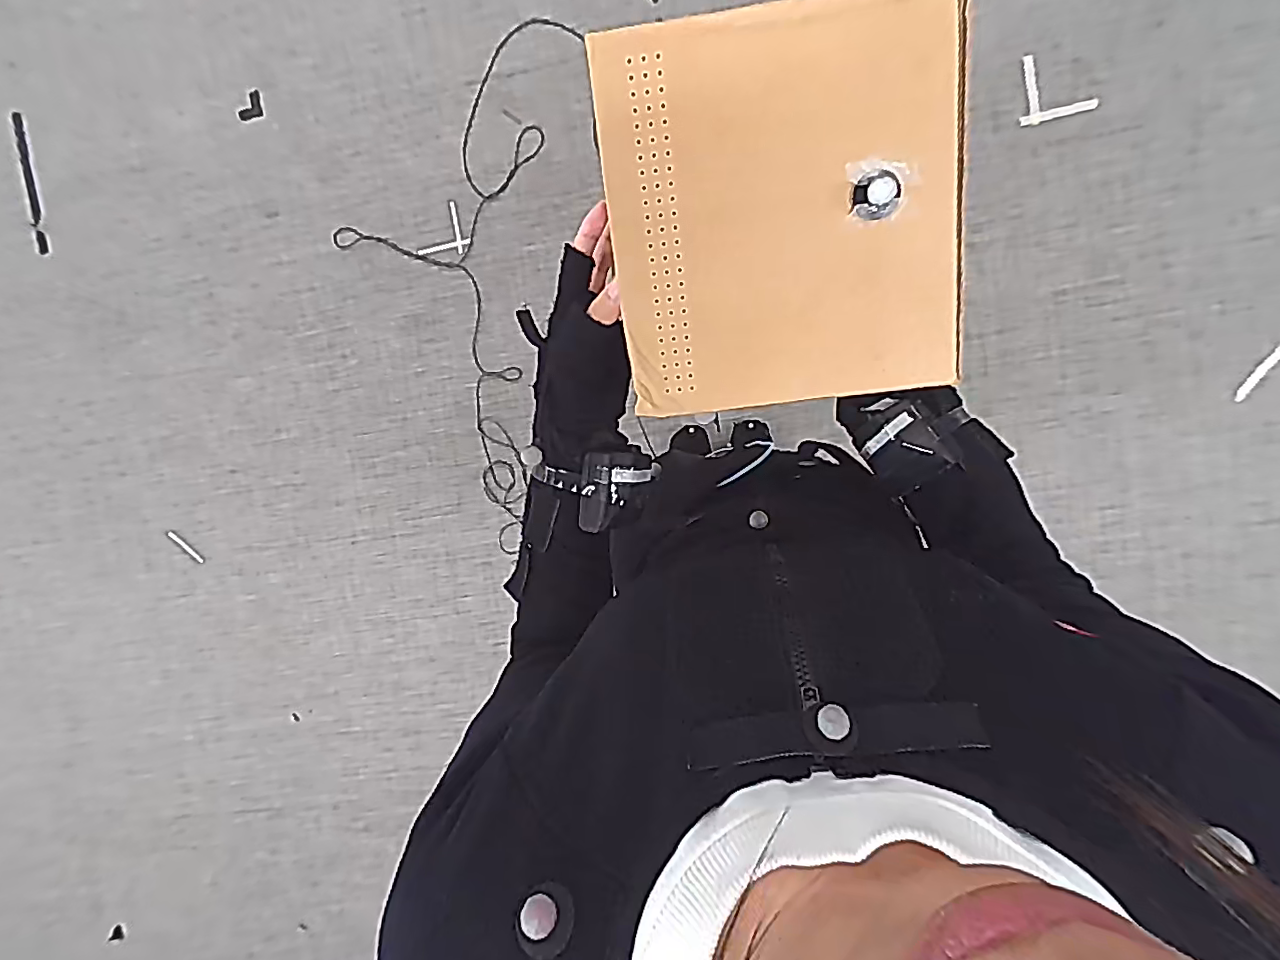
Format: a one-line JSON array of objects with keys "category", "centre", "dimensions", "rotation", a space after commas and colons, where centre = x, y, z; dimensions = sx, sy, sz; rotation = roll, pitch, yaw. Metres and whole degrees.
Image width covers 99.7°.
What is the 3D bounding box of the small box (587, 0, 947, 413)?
[{"category": "small box", "centre": [0.067, -0.149, 0.344], "dimensions": [0.176, 0.168, 0.179], "rotation": [-6, 105, 6]}]
